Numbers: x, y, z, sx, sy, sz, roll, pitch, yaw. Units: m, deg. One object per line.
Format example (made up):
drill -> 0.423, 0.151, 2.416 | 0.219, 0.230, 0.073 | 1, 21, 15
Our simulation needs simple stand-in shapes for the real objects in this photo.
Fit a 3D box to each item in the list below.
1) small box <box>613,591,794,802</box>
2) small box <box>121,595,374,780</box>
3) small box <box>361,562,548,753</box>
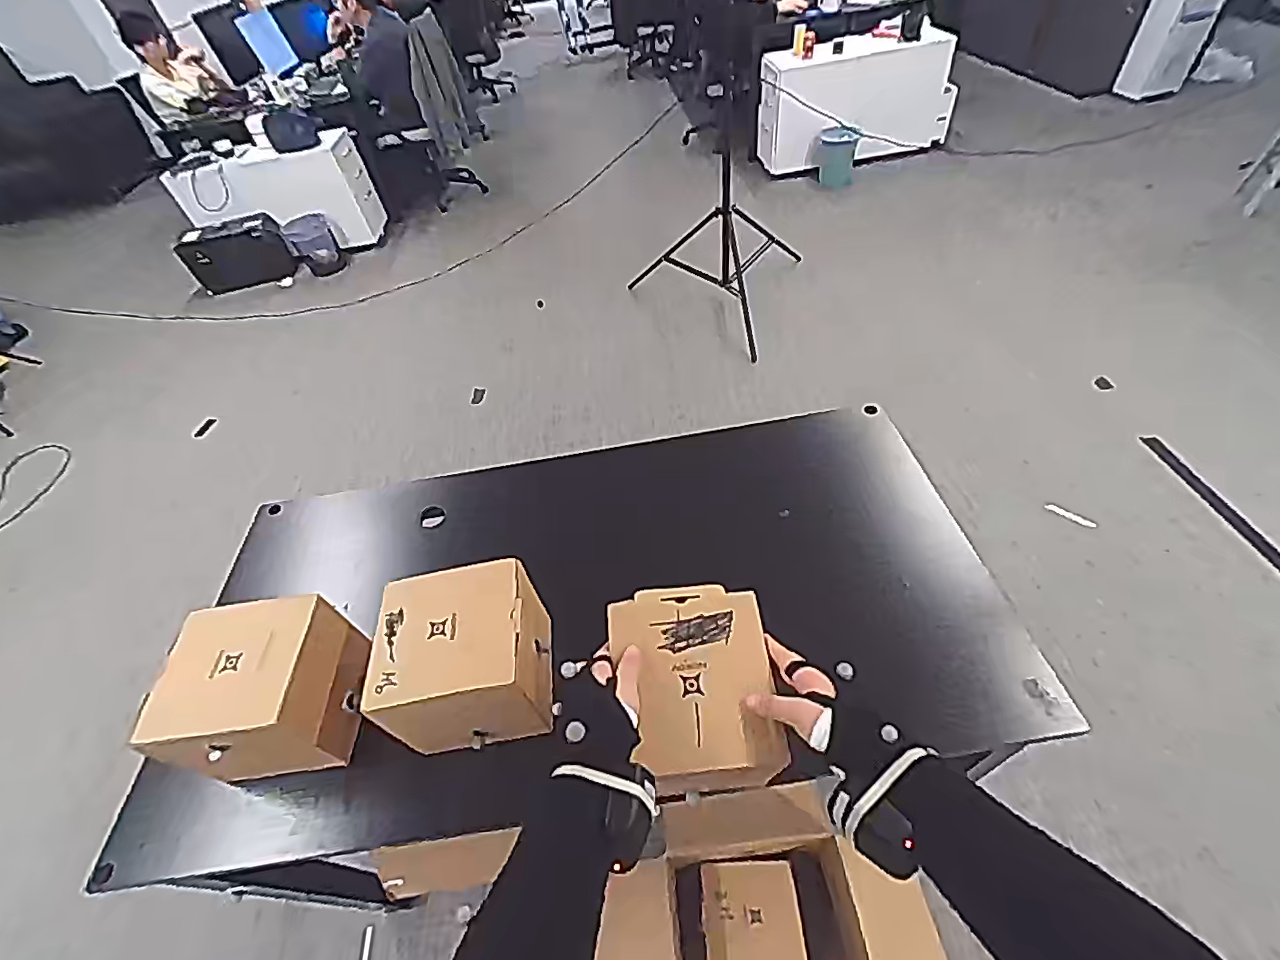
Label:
small box -> 0.058, 0.247, 0.614 | 0.168, 0.176, 0.179 | -5, 52, -2
small box -> -0.476, 0.271, 0.695 | 0.179, 0.176, 0.168 | -8, 48, 1
small box -> -0.216, 0.229, 0.691 | 0.179, 0.176, 0.168 | -10, 48, -1
